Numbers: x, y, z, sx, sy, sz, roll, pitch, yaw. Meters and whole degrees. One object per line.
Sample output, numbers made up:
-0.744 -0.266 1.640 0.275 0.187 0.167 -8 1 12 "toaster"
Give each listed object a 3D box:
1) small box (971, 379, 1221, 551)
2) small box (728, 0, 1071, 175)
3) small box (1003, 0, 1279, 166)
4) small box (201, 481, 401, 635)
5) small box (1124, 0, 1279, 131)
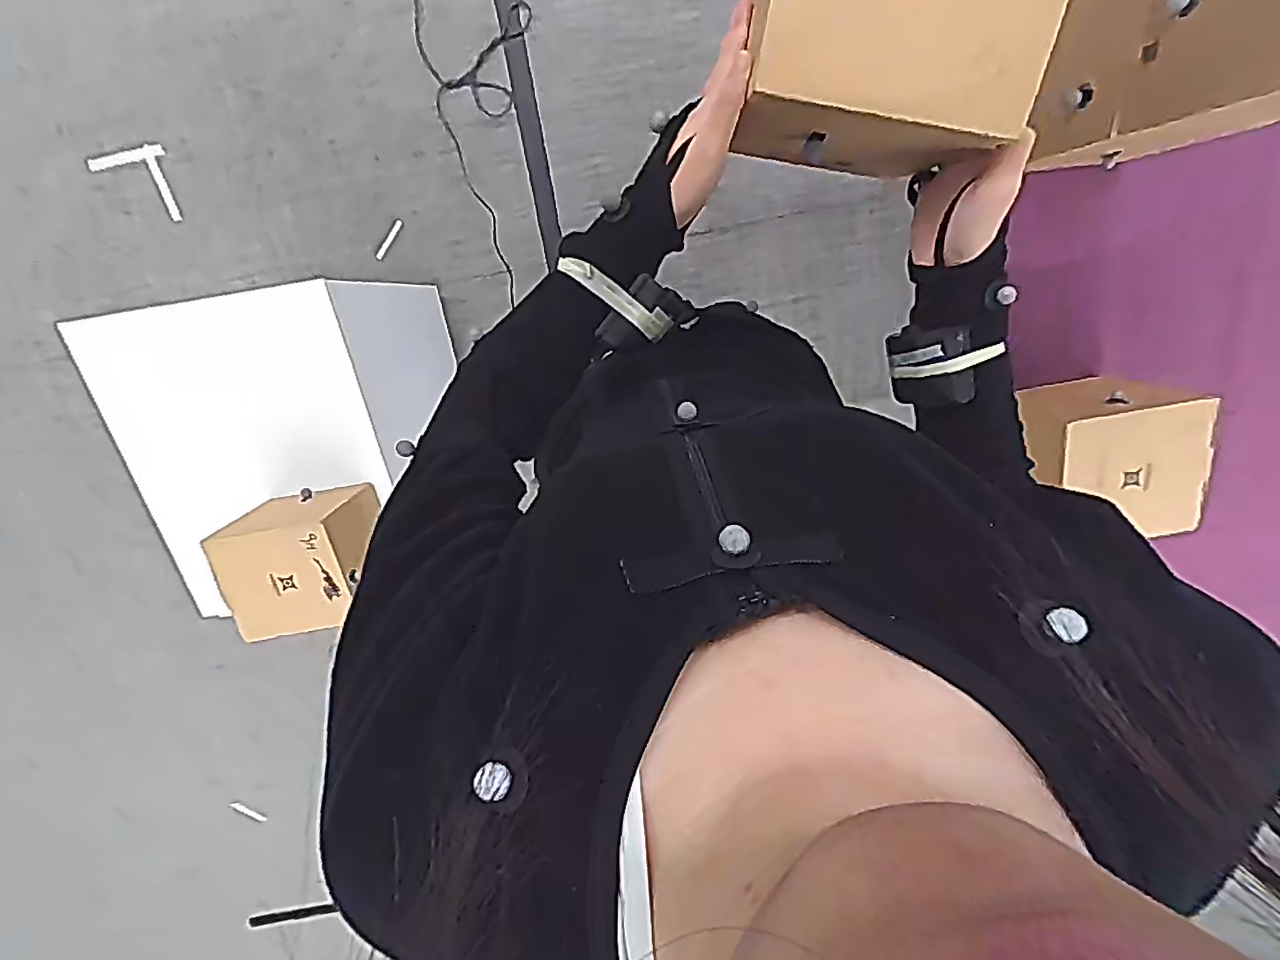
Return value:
0.570 -0.029 0.703 0.179 0.176 0.168 -10 108 1 "small box"
0.160 -0.322 0.360 0.168 0.176 0.179 8 109 -2 "small box"
0.513 -0.437 0.556 0.168 0.176 0.179 -6 109 -1 "small box"
-0.505 0.113 0.835 0.179 0.176 0.168 -9 109 1 "small box"
0.531 -0.382 0.402 0.179 0.176 0.168 -7 110 0 "small box"
